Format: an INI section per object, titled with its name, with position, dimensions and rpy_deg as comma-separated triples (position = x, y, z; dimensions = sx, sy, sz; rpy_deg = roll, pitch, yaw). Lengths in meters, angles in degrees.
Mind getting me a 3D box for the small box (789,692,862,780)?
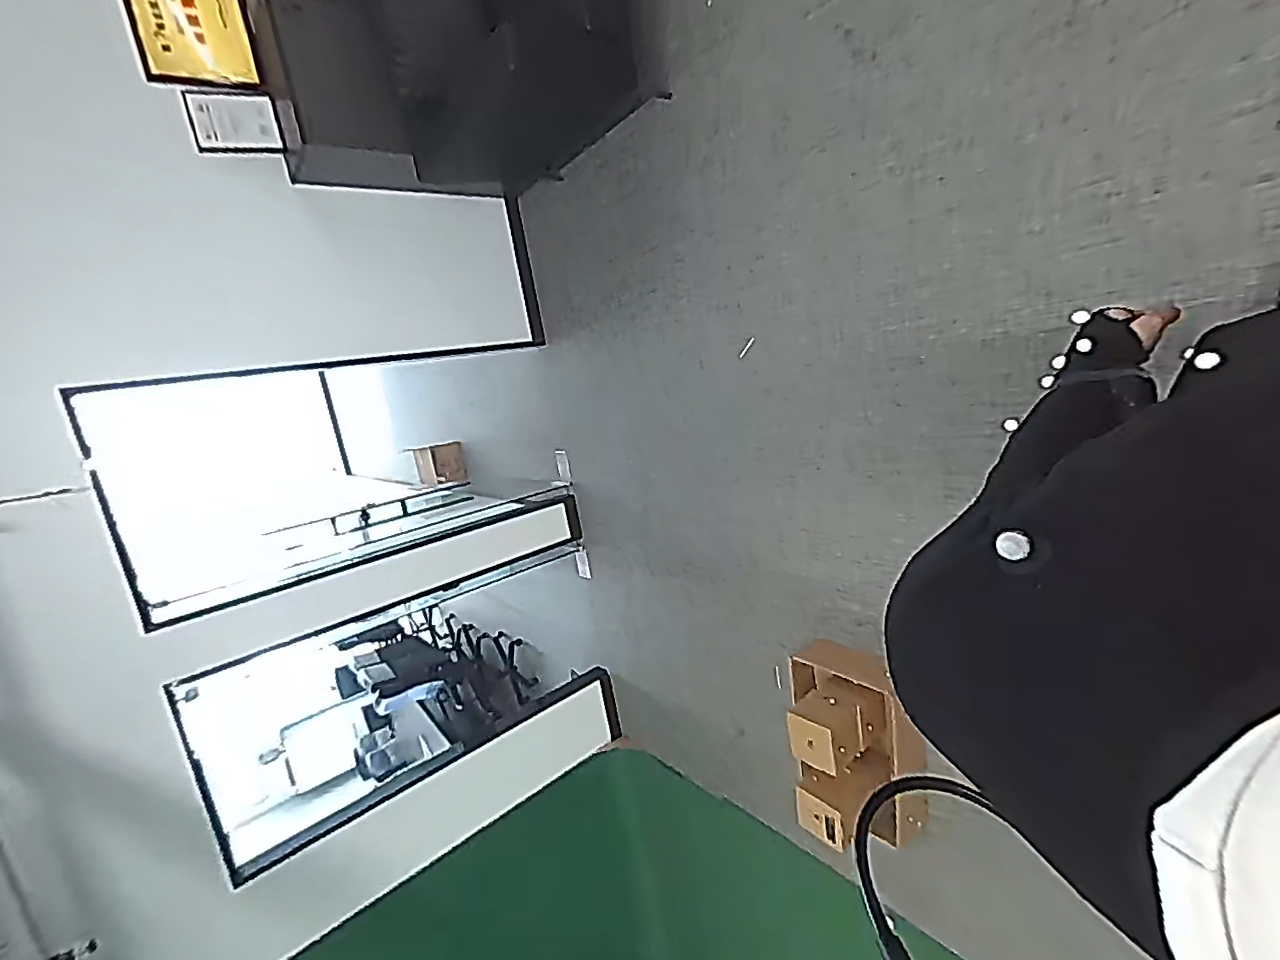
[small box]
position = 0.629, 0.854, 1.821
dimensions = 0.168, 0.176, 0.179
rpy_deg = 3, 106, 50
